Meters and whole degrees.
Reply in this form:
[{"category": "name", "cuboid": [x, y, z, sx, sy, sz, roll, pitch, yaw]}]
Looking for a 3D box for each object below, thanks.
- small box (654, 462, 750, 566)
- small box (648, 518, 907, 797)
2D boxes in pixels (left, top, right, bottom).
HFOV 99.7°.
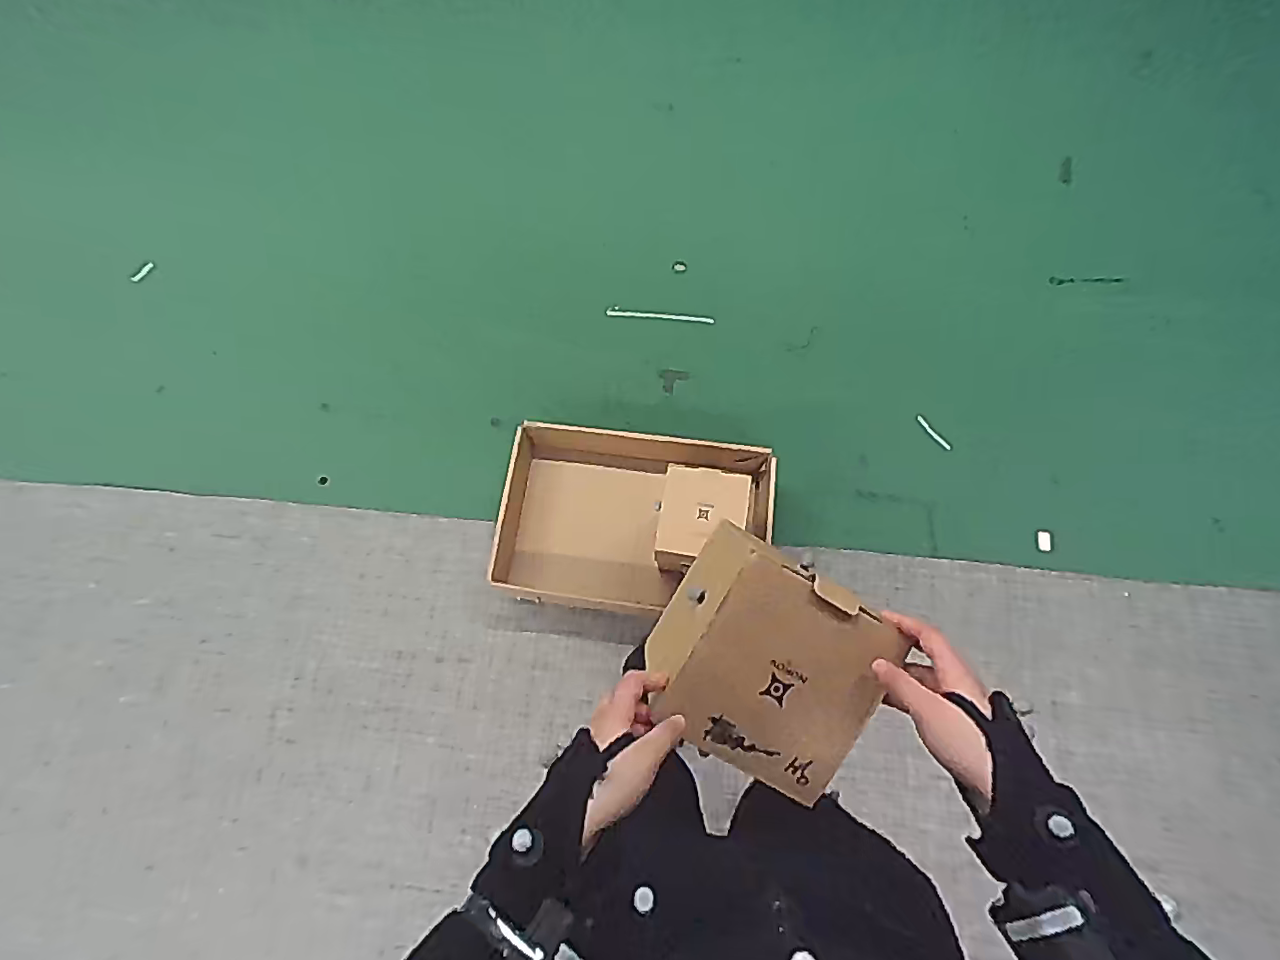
[{"category": "small box", "cuboid": [0.120, 0.080, 1.097, 0.168, 0.176, 0.179, 8, 75, 5]}, {"category": "small box", "cuboid": [0.114, 0.155, 0.539, 0.168, 0.176, 0.179, 30, 94, -3]}]
